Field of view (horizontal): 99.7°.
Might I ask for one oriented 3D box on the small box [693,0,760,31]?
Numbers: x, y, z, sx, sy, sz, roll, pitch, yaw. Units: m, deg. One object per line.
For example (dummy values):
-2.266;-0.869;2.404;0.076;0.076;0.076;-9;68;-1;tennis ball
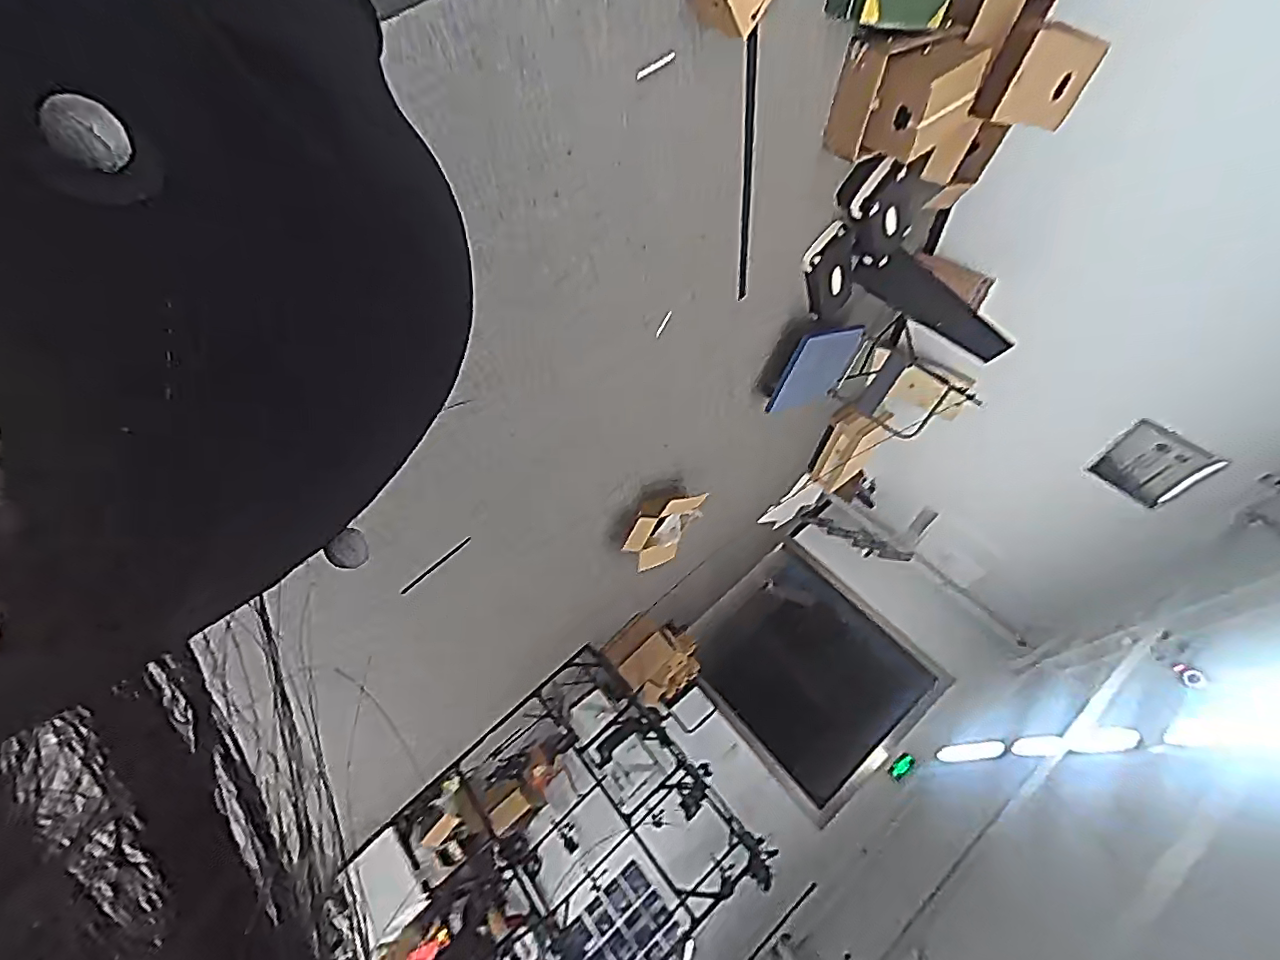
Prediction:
0.243;-1.432;1.522;0.168;0.176;0.179;-52;154;15;small box
